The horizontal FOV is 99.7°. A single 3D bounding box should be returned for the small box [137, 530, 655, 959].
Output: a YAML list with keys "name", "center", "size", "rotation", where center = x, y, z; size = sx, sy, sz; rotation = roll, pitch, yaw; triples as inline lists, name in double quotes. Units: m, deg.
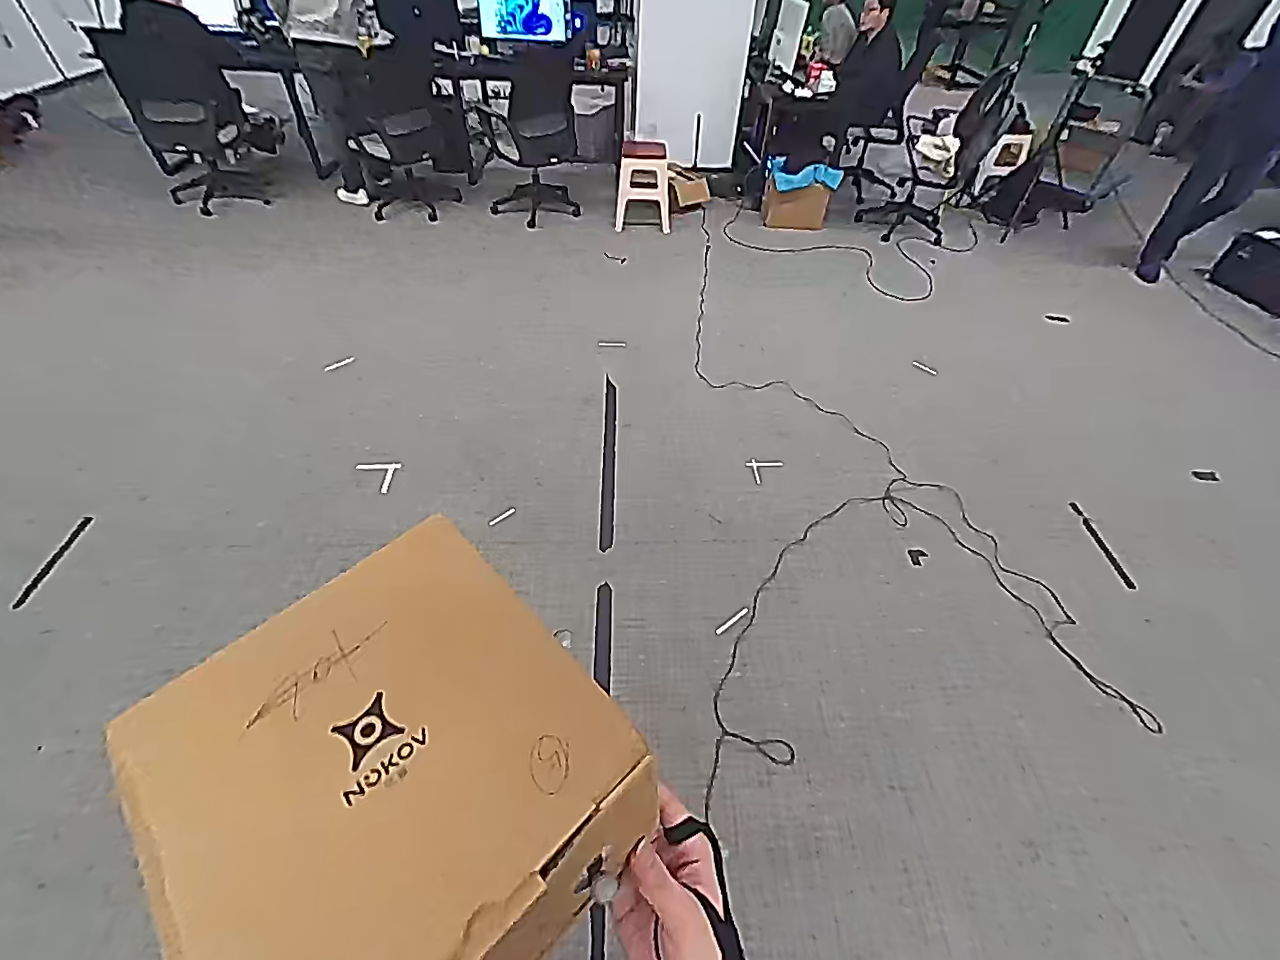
- name: "small box"
  center: [-0.105, 0.168, 0.297]
  size: [0.179, 0.176, 0.168]
  rotation: [36, 59, 29]
